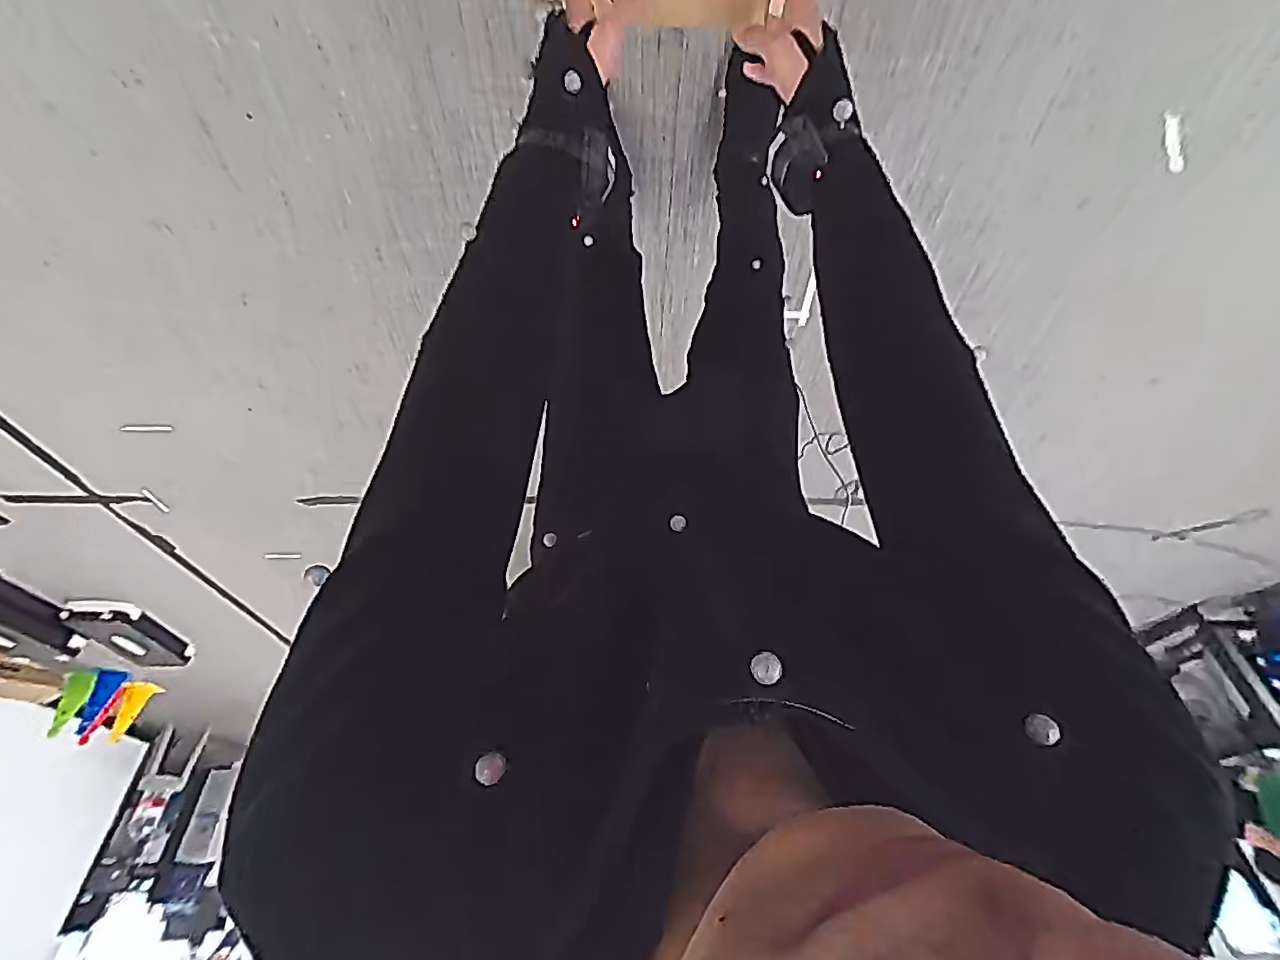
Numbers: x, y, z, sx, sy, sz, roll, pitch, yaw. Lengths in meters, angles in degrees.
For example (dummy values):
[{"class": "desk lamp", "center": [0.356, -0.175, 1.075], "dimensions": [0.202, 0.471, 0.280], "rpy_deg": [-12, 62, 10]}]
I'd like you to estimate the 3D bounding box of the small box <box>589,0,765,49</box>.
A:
[{"class": "small box", "center": [0.036, -0.565, 0.543], "dimensions": [0.179, 0.176, 0.168], "rpy_deg": [0, 143, -4]}]
